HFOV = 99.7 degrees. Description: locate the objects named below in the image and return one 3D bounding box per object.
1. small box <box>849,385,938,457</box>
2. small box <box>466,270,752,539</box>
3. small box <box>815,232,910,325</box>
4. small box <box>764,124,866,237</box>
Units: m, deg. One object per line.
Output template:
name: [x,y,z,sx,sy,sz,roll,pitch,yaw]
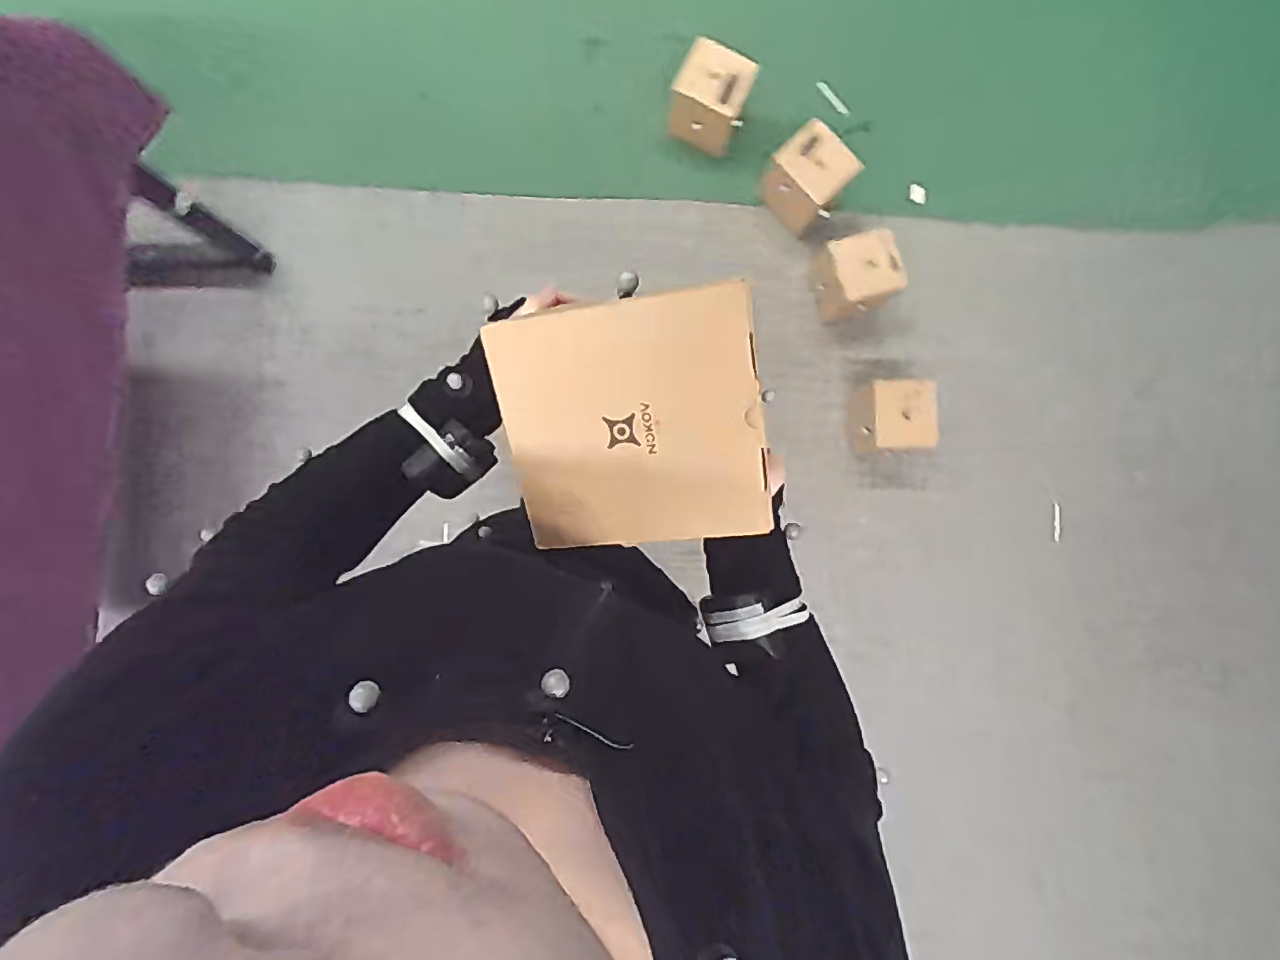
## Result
small box: [0.682,-0.155,1.467,0.168,0.176,0.179,1,88,-3]
small box: [-0.005,-0.067,0.436,0.179,0.176,0.168,-7,110,13]
small box: [0.597,-0.543,1.483,0.179,0.176,0.168,-16,88,-3]
small box: [0.472,-0.815,1.490,0.168,0.176,0.179,-42,90,-4]
